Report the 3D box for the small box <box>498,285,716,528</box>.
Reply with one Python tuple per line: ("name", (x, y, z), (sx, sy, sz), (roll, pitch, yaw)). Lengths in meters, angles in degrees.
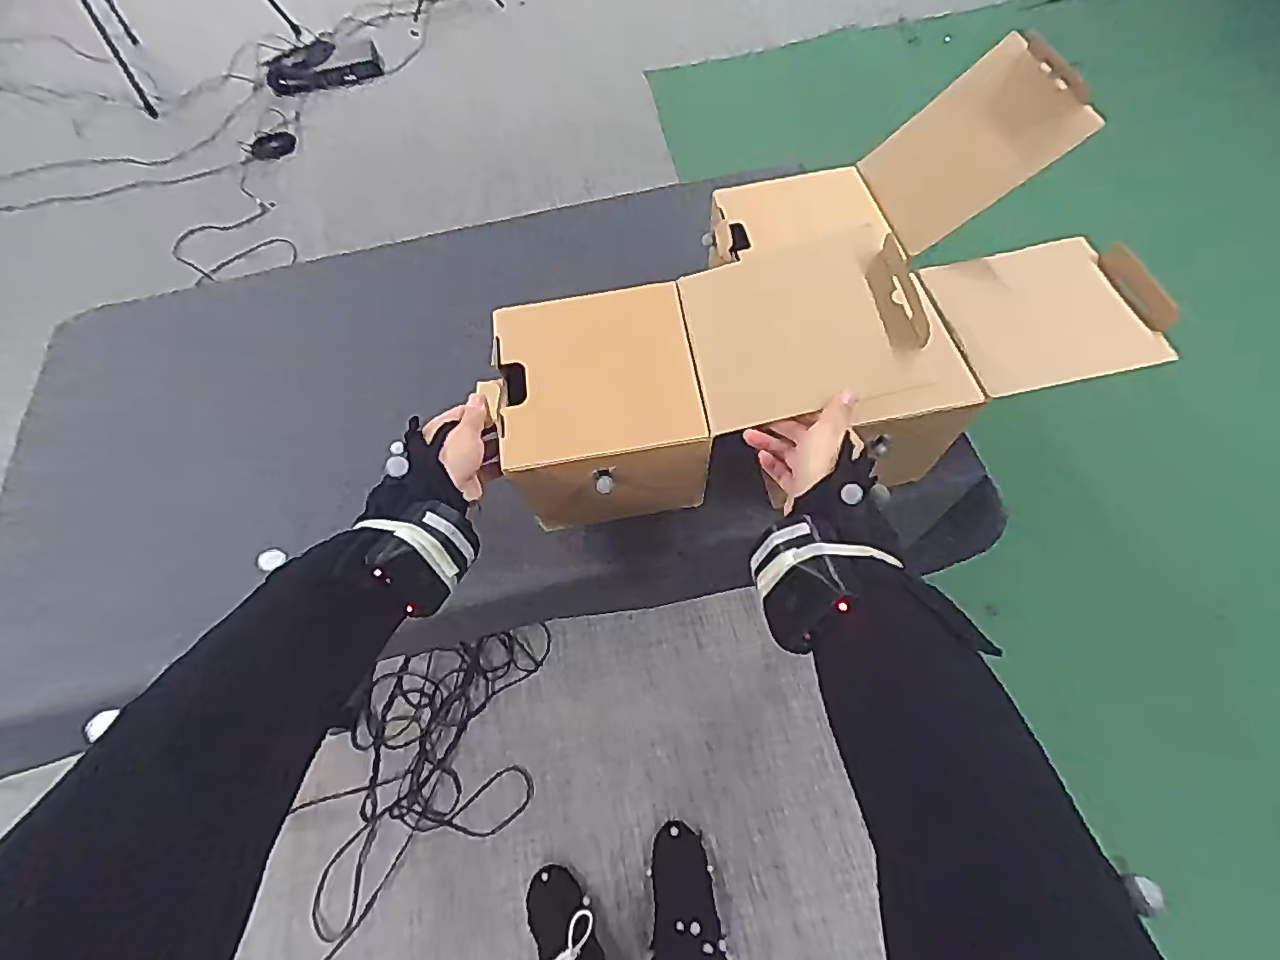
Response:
("small box", (-0.030, -0.062, 0.537), (0.179, 0.176, 0.168), (-9, 68, 1))
